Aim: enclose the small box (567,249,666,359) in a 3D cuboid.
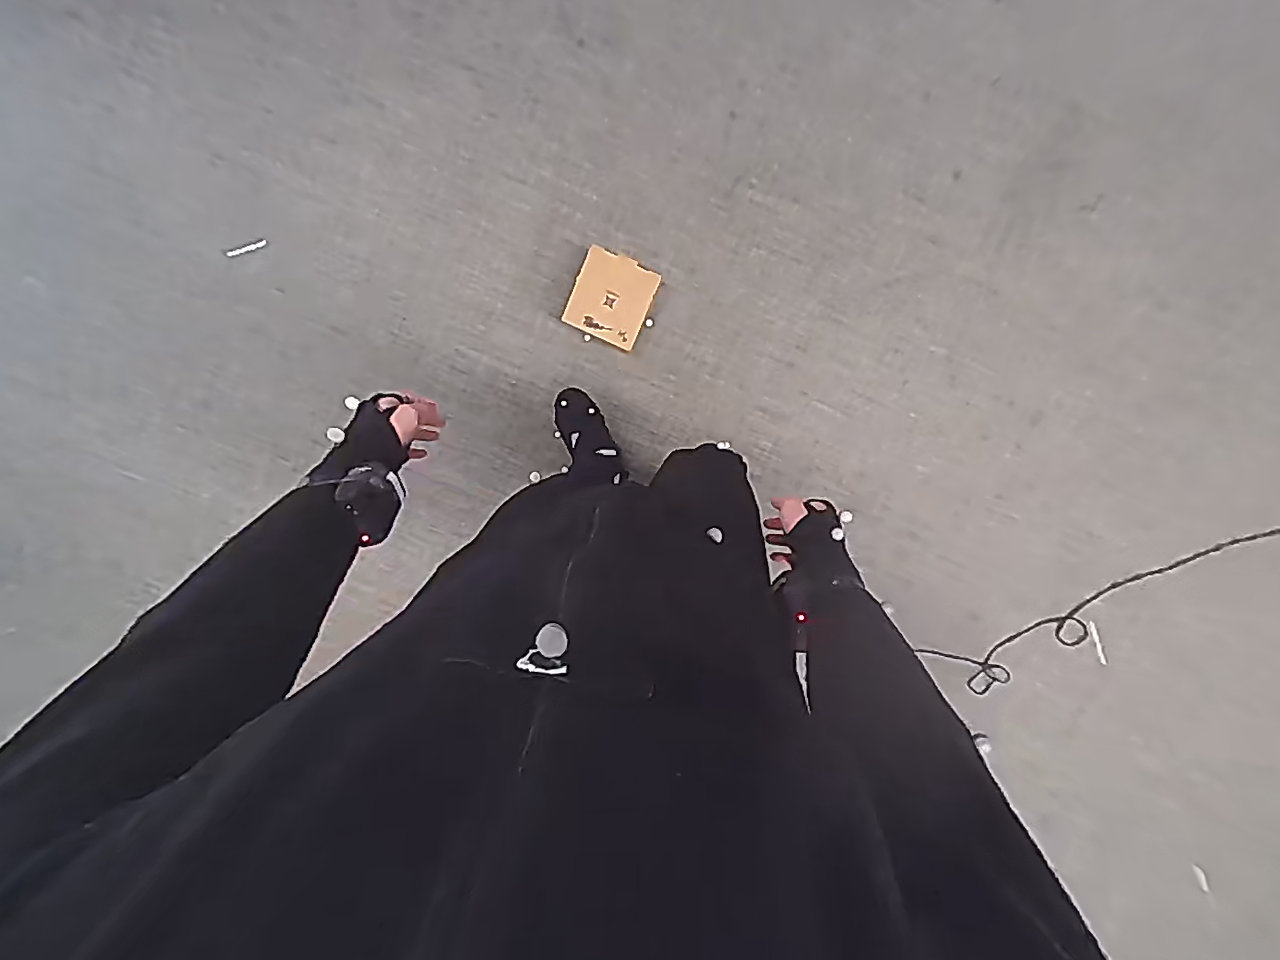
[{"bbox_3d":[-0.053,-0.396,1.248,0.168,0.176,0.179,25,98,-4],"label":"small box"}]
